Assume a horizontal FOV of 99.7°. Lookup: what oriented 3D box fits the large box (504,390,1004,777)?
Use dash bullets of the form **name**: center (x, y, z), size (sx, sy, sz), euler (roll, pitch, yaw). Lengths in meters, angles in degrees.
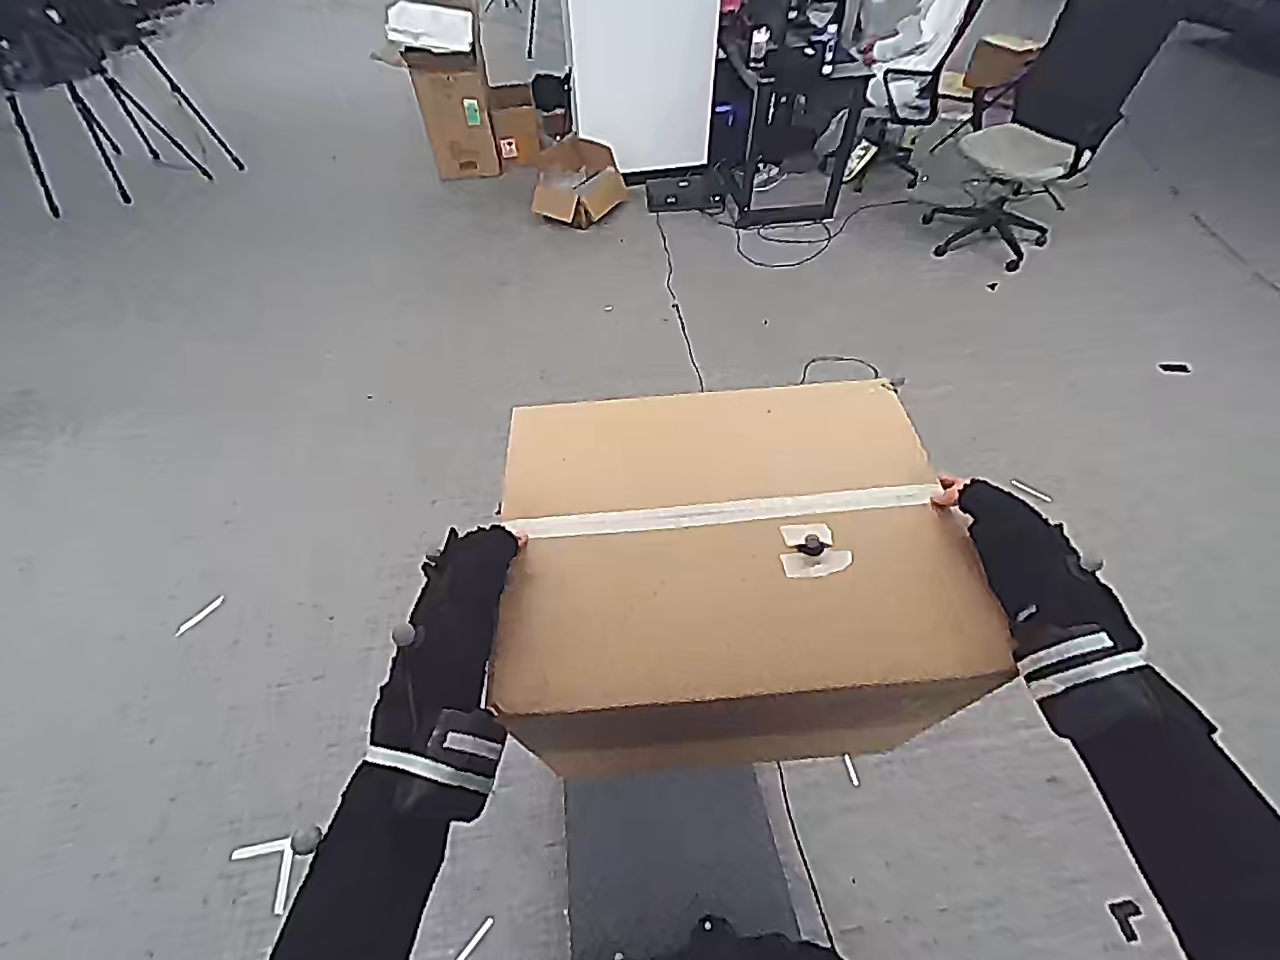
- **large box**: center (0.083, 0.130, 0.625), size (0.408, 0.320, 0.320), euler (-5, 54, -1)
